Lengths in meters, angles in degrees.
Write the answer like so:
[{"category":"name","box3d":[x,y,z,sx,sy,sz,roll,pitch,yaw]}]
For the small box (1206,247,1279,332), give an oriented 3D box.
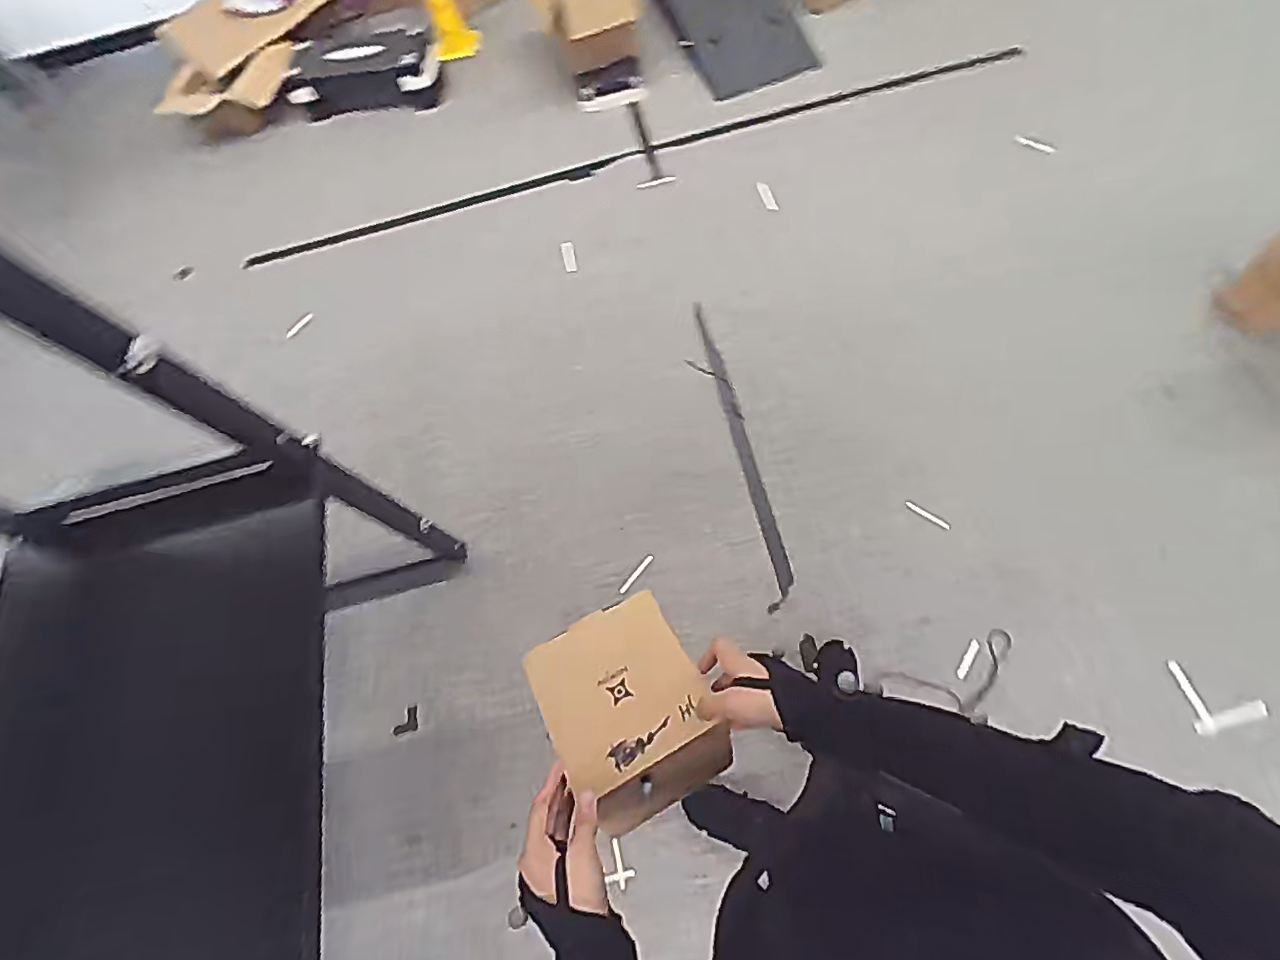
[{"category":"small box","box3d":[1.894,-0.577,1.623,0.179,0.176,0.168,-17,66,-1]}]
